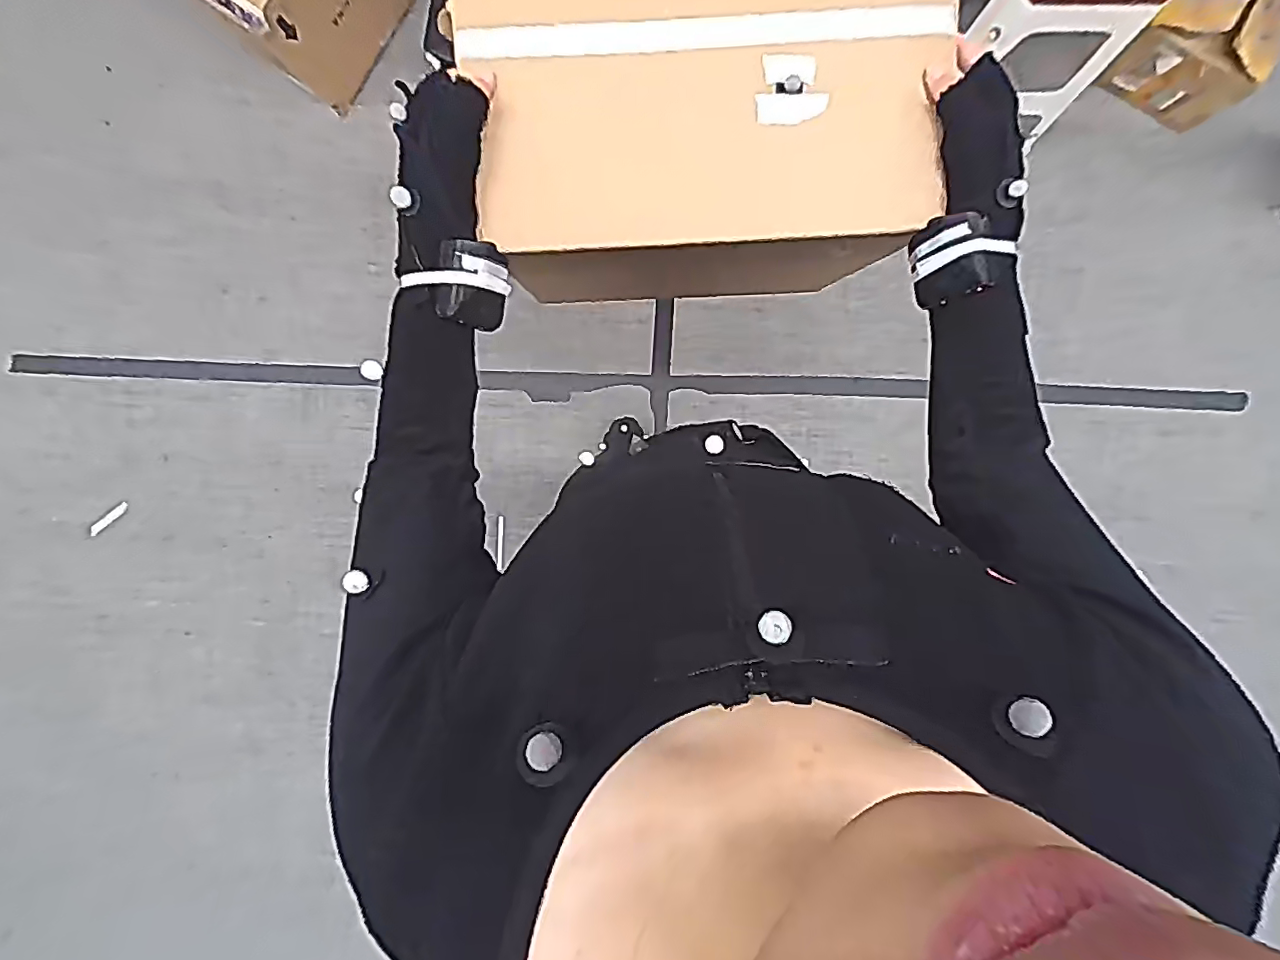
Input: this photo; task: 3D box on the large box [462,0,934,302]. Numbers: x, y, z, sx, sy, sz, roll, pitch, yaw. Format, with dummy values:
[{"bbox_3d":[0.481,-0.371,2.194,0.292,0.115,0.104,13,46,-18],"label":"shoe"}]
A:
[{"bbox_3d":[0.046,-0.393,0.606,0.408,0.320,0.320,-4,101,-1],"label":"large box"}]
